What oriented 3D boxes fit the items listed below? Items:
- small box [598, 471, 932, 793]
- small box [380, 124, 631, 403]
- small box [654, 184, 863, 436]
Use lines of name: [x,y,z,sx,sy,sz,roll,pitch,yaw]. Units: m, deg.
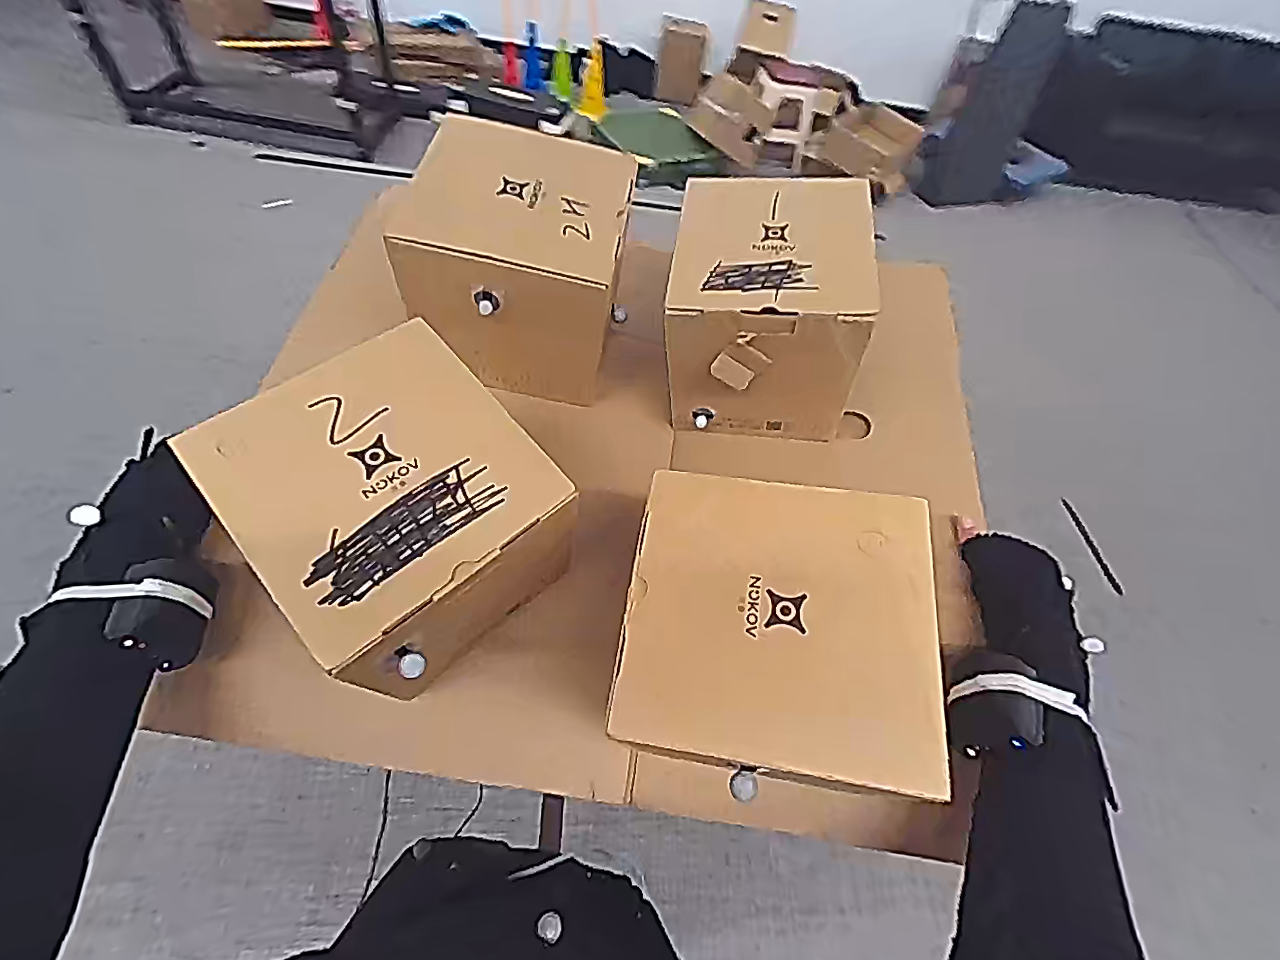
small box: [0.083,0.112,0.389,0.179,0.176,0.168,6,63,10]
small box: [-0.116,-0.195,0.522,0.179,0.176,0.168,11,62,-5]
small box: [0.113,-0.161,0.533,0.168,0.176,0.179,5,61,9]
